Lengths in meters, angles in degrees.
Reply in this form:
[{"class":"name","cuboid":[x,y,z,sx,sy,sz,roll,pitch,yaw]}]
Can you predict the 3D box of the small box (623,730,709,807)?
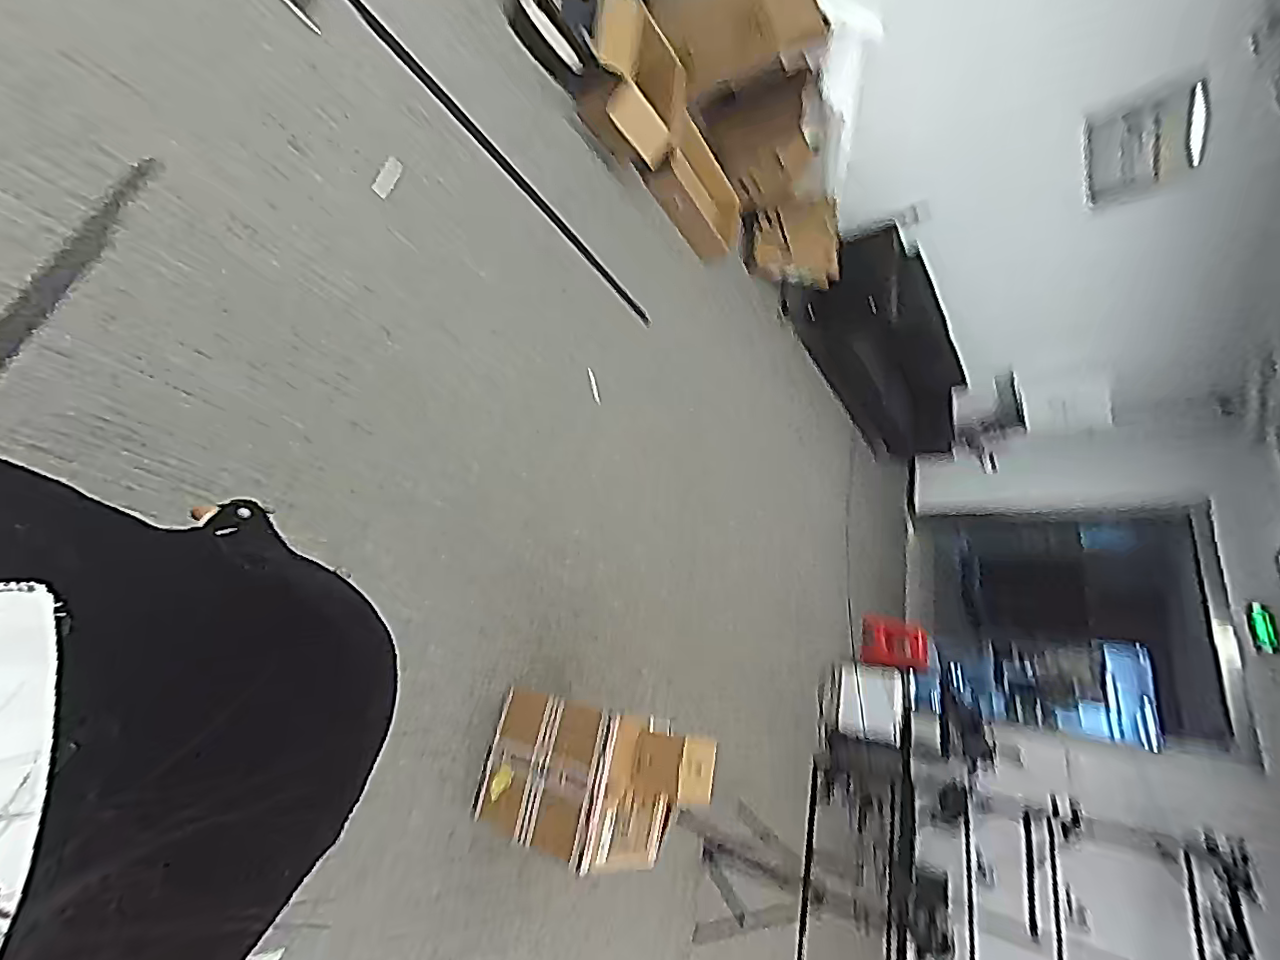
[{"class":"small box","cuboid":[0.079,0.845,1.588,0.179,0.176,0.168,36,56,-41]}]
